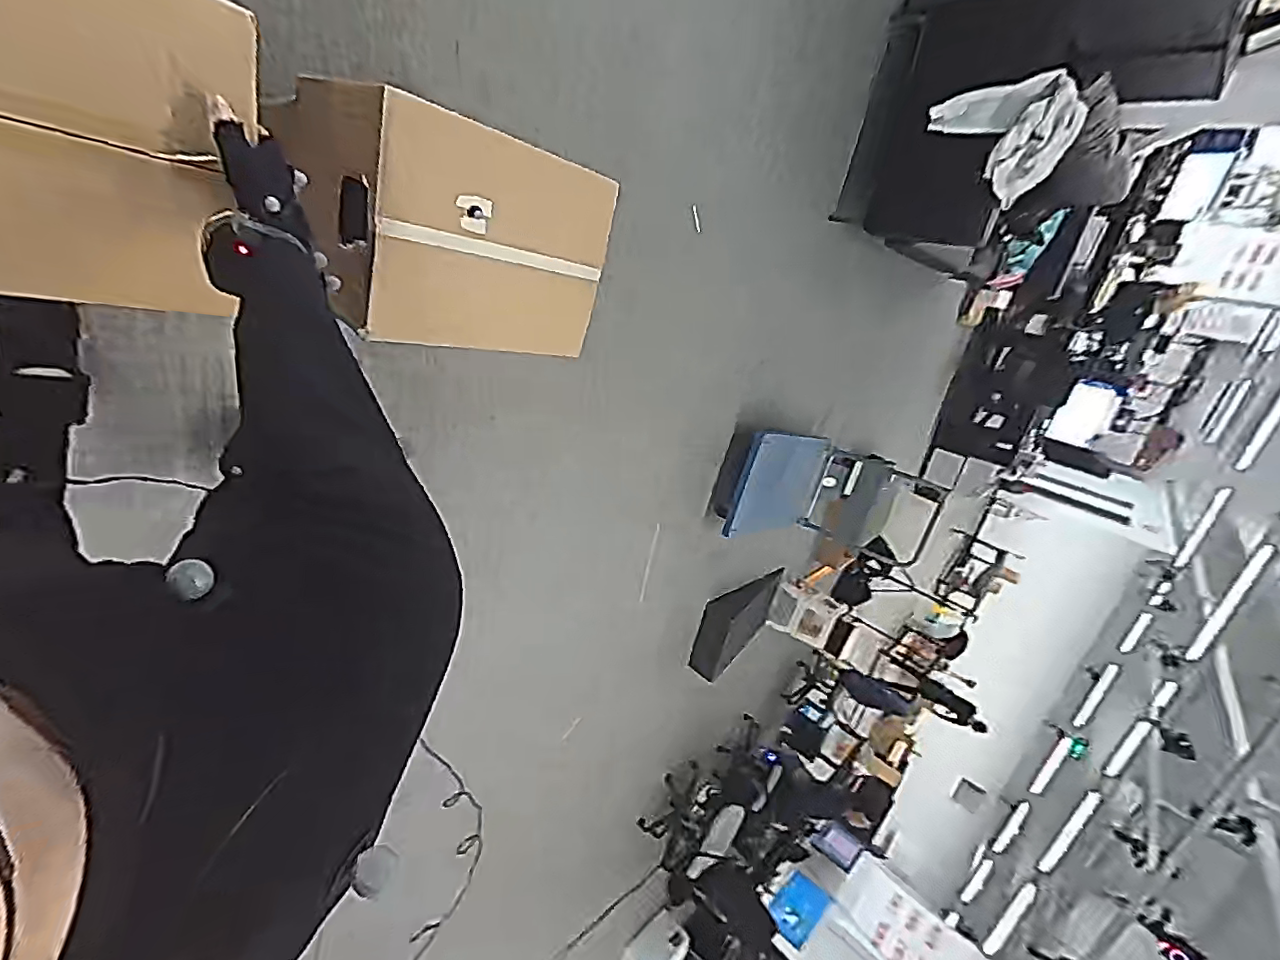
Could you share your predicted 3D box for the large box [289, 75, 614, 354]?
[{"bbox_3d":[-0.320,-0.423,0.919,0.408,0.320,0.320,-8,123,-46],"label":"large box"}]
